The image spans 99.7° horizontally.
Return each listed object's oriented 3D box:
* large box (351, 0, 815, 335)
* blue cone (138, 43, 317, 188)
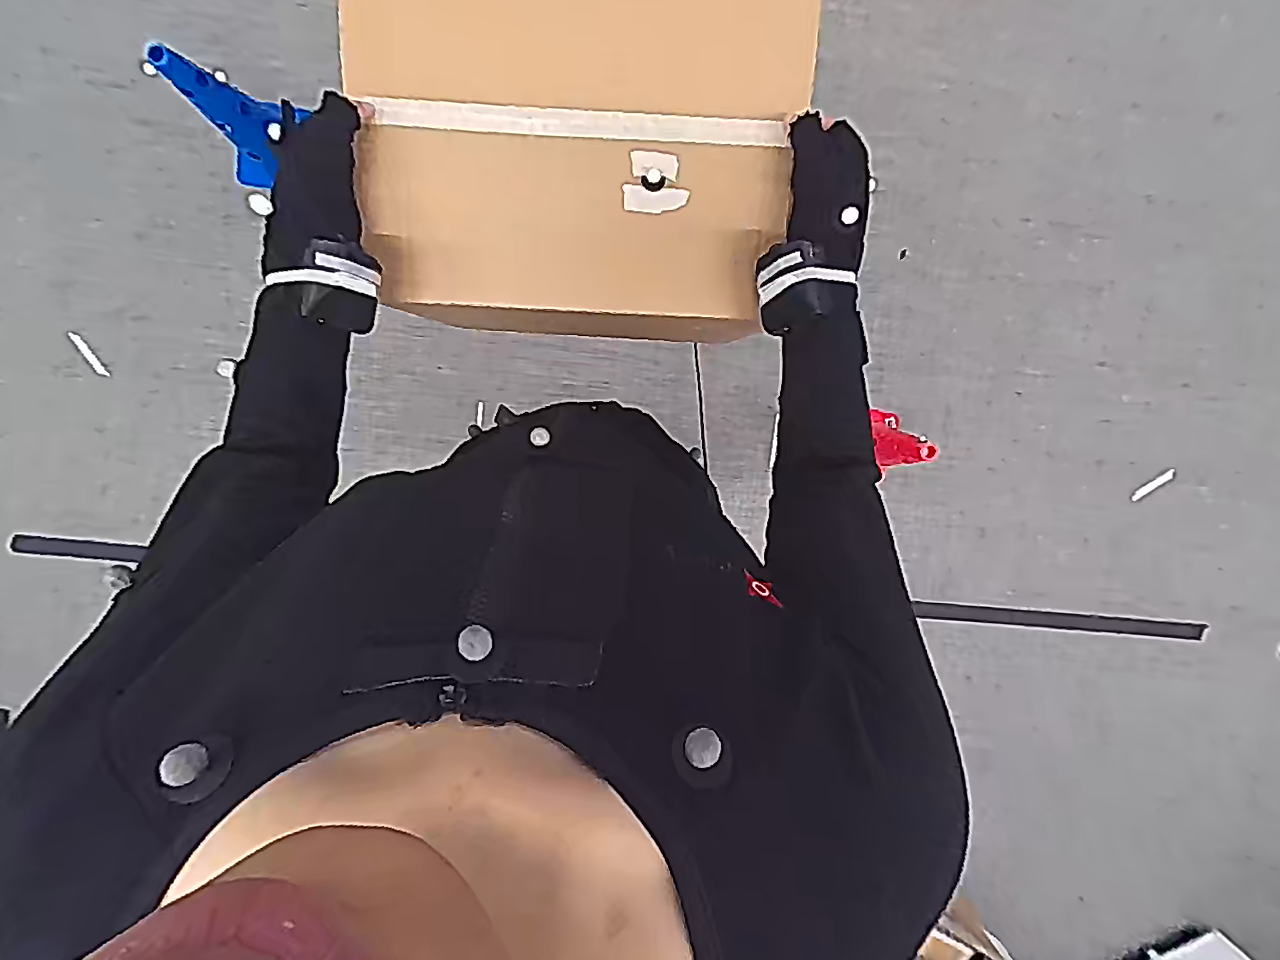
[{"bbox_3d":[-0.057,-0.345,0.625,0.408,0.320,0.320,2,101,-3],"label":"large box"},{"bbox_3d":[-0.904,-0.814,1.185,0.192,0.380,0.193,9,97,-1],"label":"blue cone"}]
